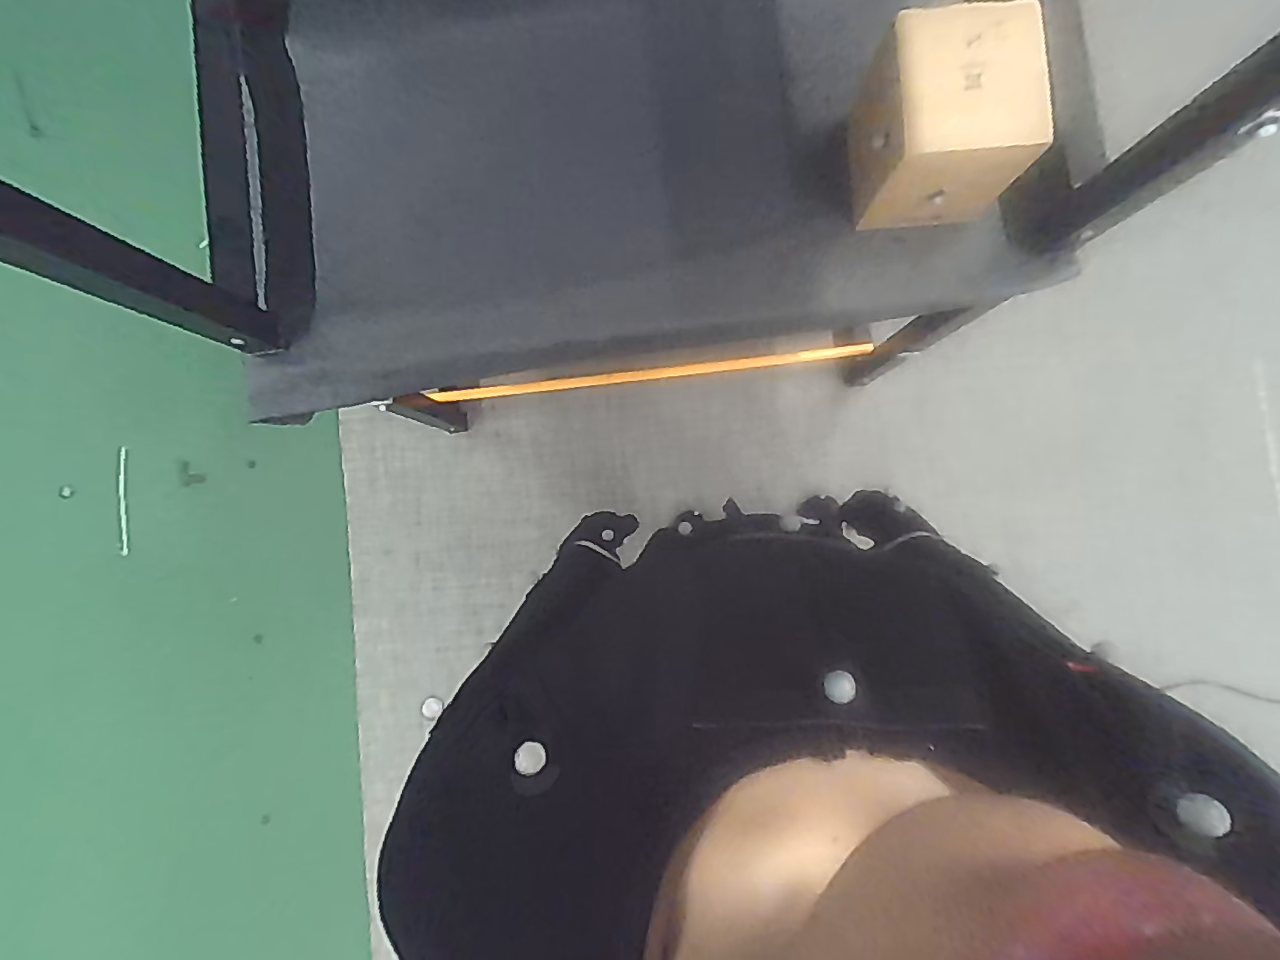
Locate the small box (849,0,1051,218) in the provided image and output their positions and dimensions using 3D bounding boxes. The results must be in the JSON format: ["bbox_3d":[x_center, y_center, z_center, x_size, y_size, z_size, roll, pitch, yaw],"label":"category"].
[{"bbox_3d":[0.381,-0.457,0.693,0.168,0.176,0.179,-3,86,2],"label":"small box"}]
